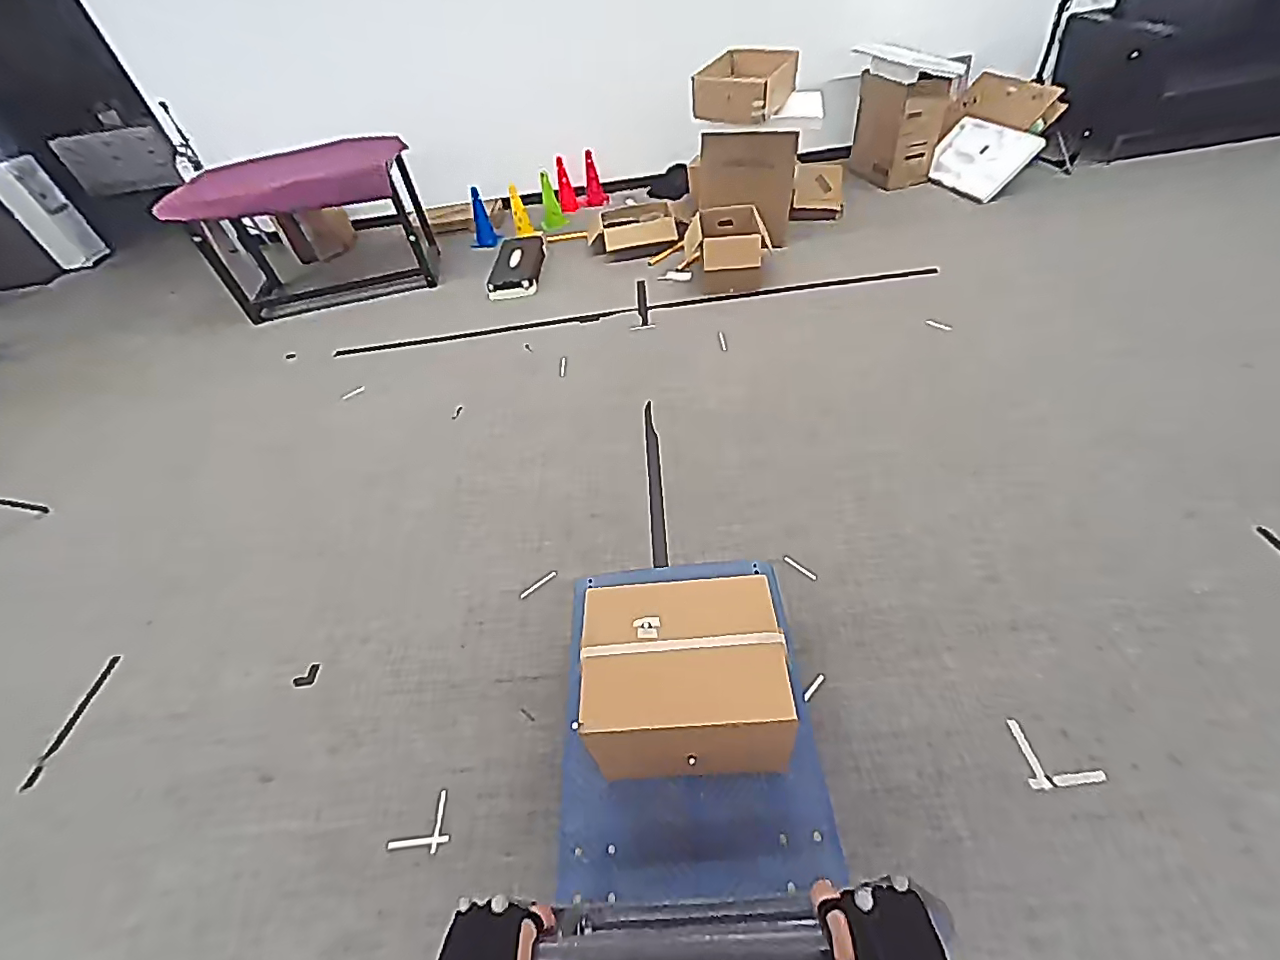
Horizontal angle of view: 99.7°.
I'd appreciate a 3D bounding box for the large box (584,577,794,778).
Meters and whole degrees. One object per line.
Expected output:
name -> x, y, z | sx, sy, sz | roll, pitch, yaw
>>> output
large box -> 0.105, 0.452, 1.220 | 0.408, 0.320, 0.320 | -7, 45, 4
